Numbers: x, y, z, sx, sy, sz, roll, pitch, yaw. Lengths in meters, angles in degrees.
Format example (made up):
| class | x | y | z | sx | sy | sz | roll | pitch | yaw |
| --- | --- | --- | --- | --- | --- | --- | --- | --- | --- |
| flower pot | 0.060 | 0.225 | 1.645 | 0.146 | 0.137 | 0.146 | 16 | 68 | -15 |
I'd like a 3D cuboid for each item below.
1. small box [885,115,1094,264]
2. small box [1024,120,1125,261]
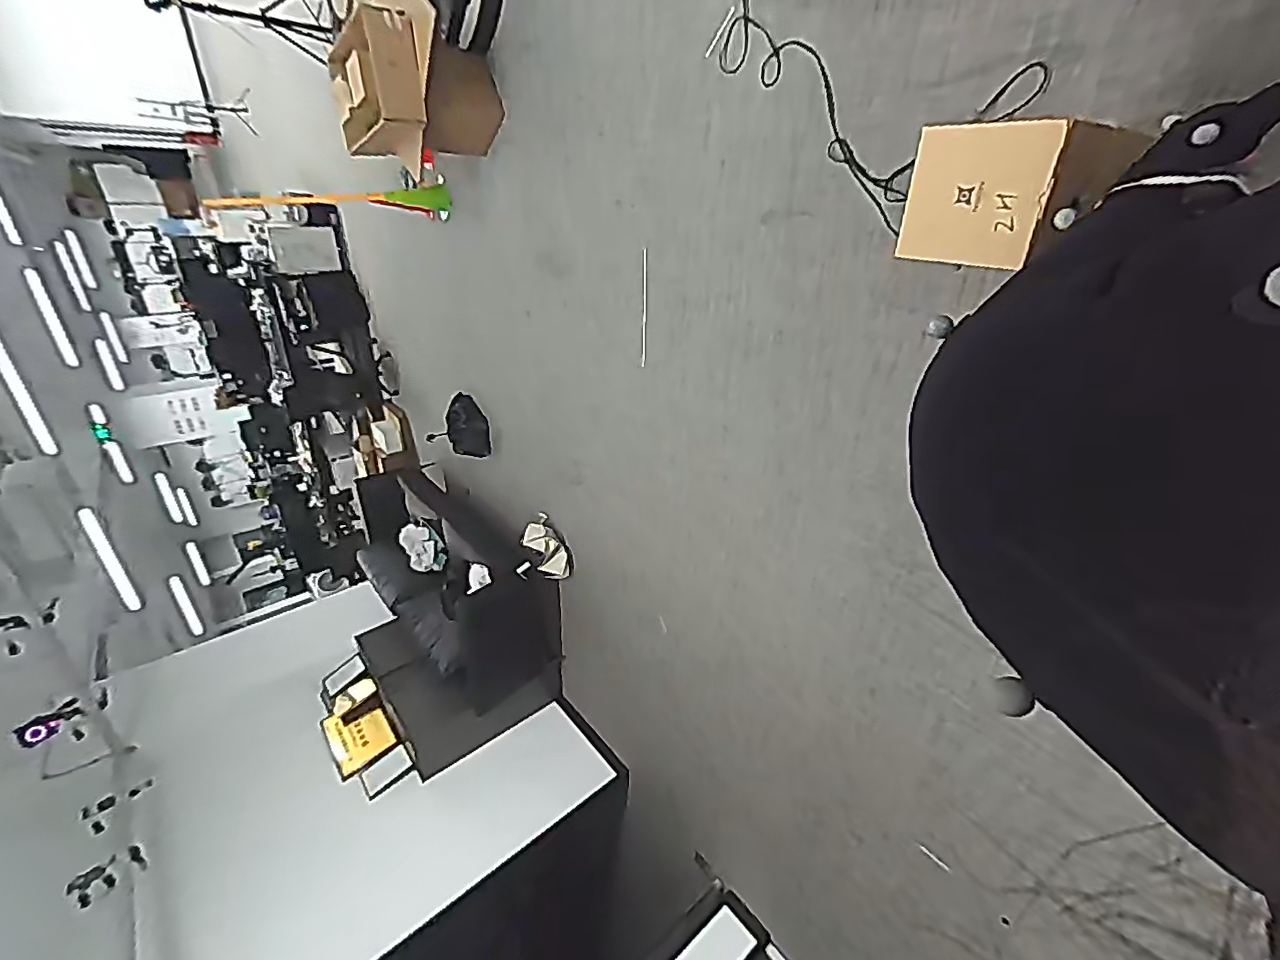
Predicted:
| class | x | y | z | sx | sy | sz | roll | pitch | yaw |
| --- | --- | --- | --- | --- | --- | --- | --- | --- | --- |
| small box | 0.488 | -0.410 | 0.765 | 0.179 | 0.176 | 0.168 | 31 | 132 | 40 |
| small box | 0.620 | -0.455 | 0.853 | 0.168 | 0.176 | 0.179 | 30 | 131 | 41 |
